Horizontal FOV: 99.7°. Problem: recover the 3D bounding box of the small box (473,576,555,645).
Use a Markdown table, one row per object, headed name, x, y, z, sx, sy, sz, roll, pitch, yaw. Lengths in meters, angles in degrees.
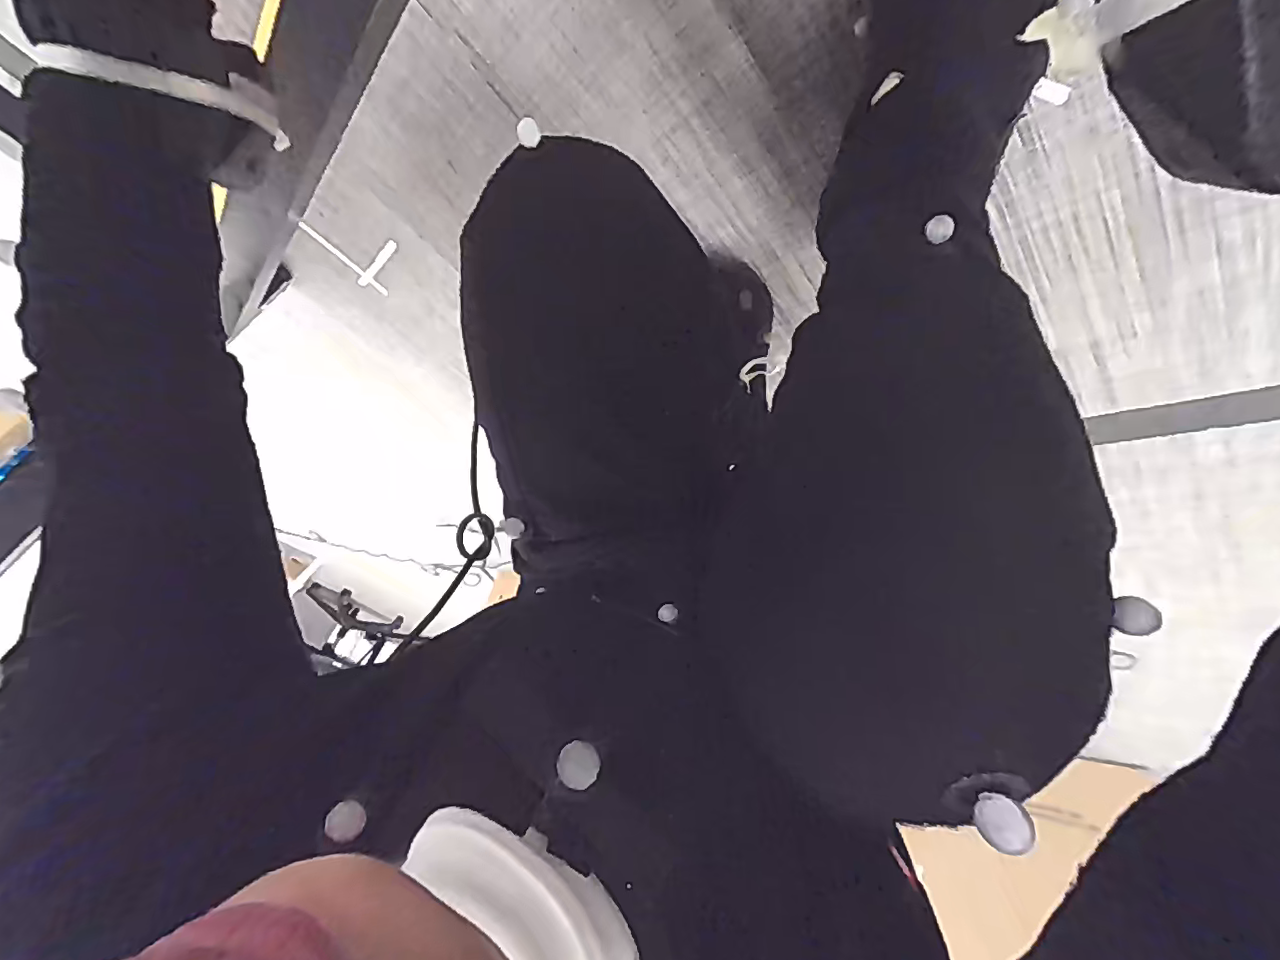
| name | x | y | z | sx | sy | sz | roll | pitch | yaw |
| --- | --- | --- | --- | --- | --- | --- | --- | --- | --- |
| small box | -0.409 | 0.427 | 1.777 | 0.179 | 0.176 | 0.168 | -15 | 135 | 45 |
